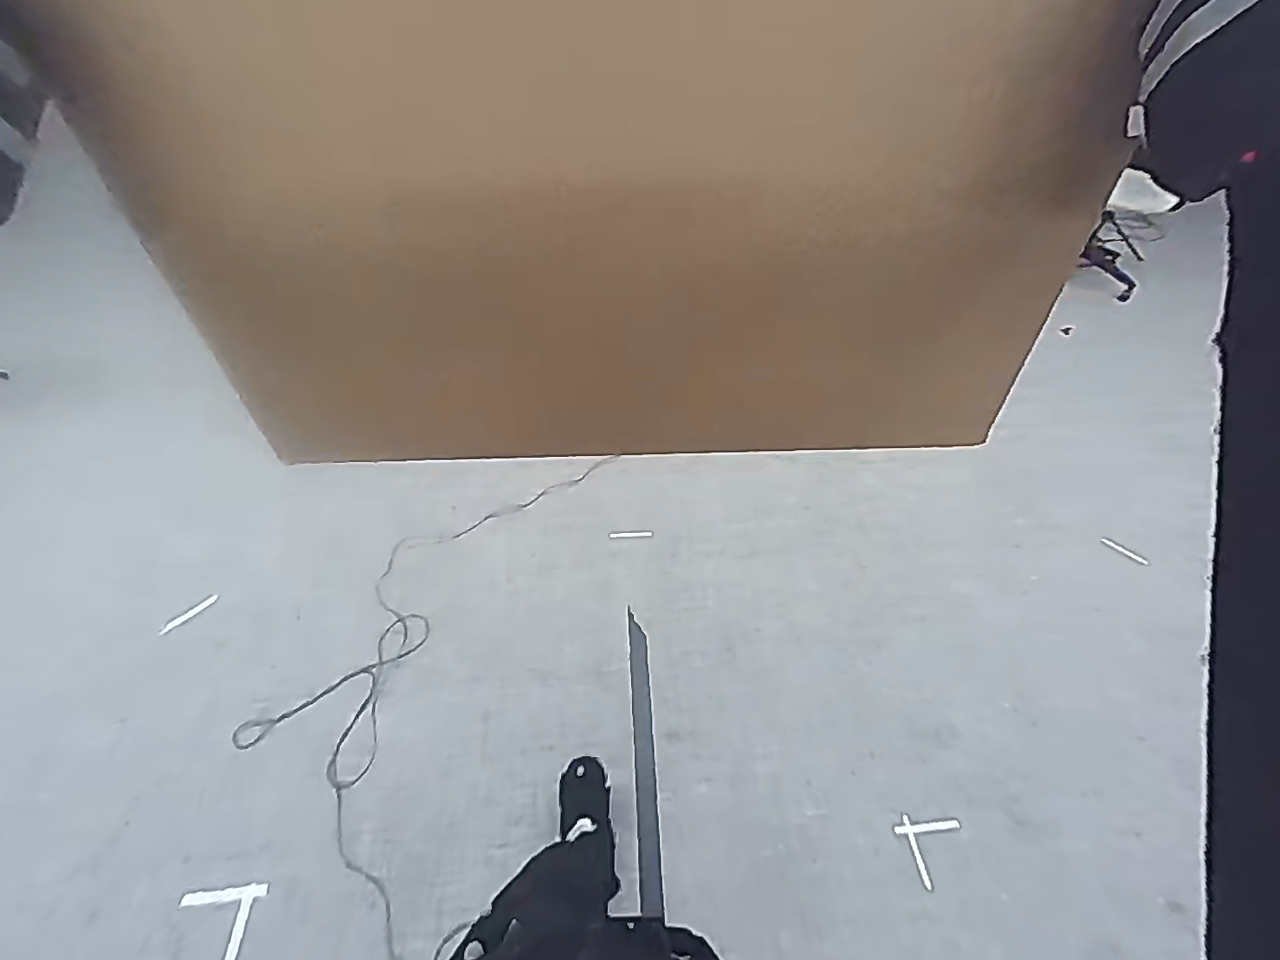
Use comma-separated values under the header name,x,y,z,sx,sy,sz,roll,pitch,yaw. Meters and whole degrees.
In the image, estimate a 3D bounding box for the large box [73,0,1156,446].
name,x,y,z,sx,sy,sz,roll,pitch,yaw
large box,-0.010,-0.235,0.336,0.408,0.320,0.320,-1,43,-1
